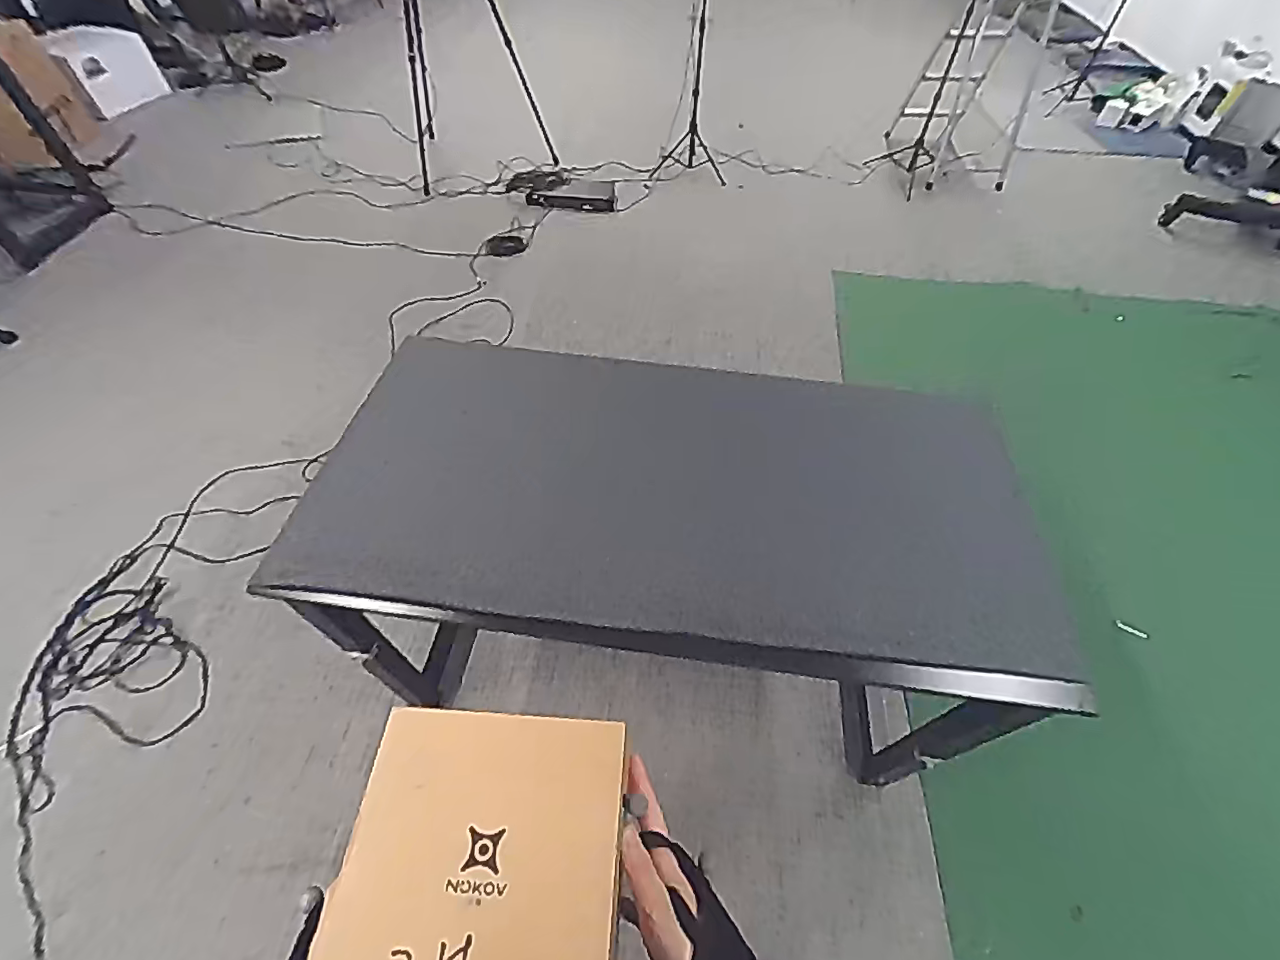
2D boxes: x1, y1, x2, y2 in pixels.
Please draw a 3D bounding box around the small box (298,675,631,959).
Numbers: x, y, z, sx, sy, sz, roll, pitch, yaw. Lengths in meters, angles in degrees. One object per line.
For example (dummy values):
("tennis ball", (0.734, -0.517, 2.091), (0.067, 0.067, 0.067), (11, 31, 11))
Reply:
("small box", (-0.096, 0.259, 0.386), (0.168, 0.176, 0.179), (4, 53, 3))
